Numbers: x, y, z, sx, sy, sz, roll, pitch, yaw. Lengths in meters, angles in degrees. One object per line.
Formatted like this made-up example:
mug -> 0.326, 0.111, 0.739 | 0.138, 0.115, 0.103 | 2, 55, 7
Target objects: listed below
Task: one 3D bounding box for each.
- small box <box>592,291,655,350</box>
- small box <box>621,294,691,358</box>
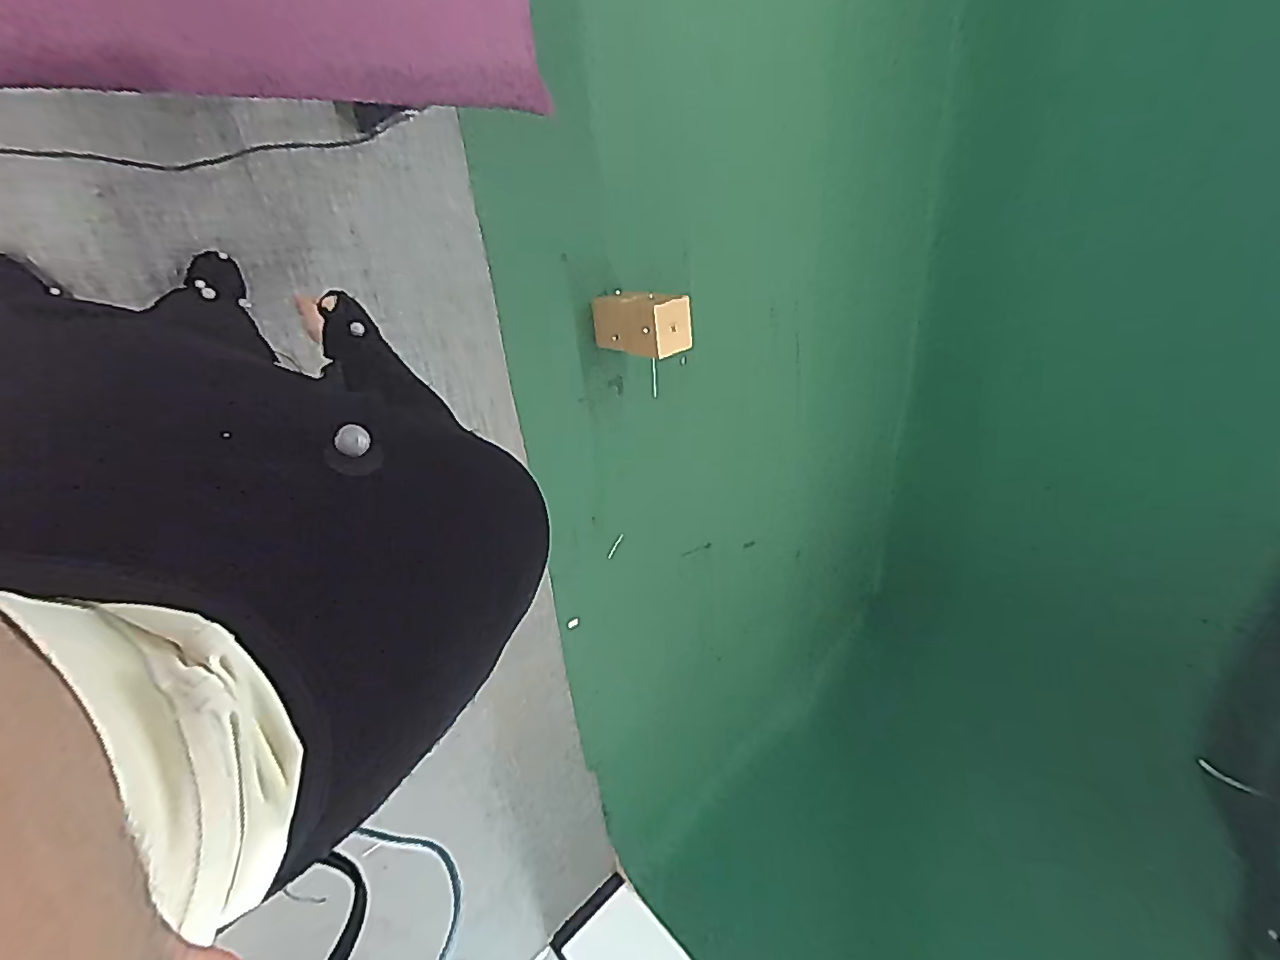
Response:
small box -> -0.056, -0.583, 1.961 | 0.168, 0.176, 0.179 | -25, 122, -35
small box -> 0.054, -0.533, 1.853 | 0.168, 0.176, 0.179 | -28, 122, -33
